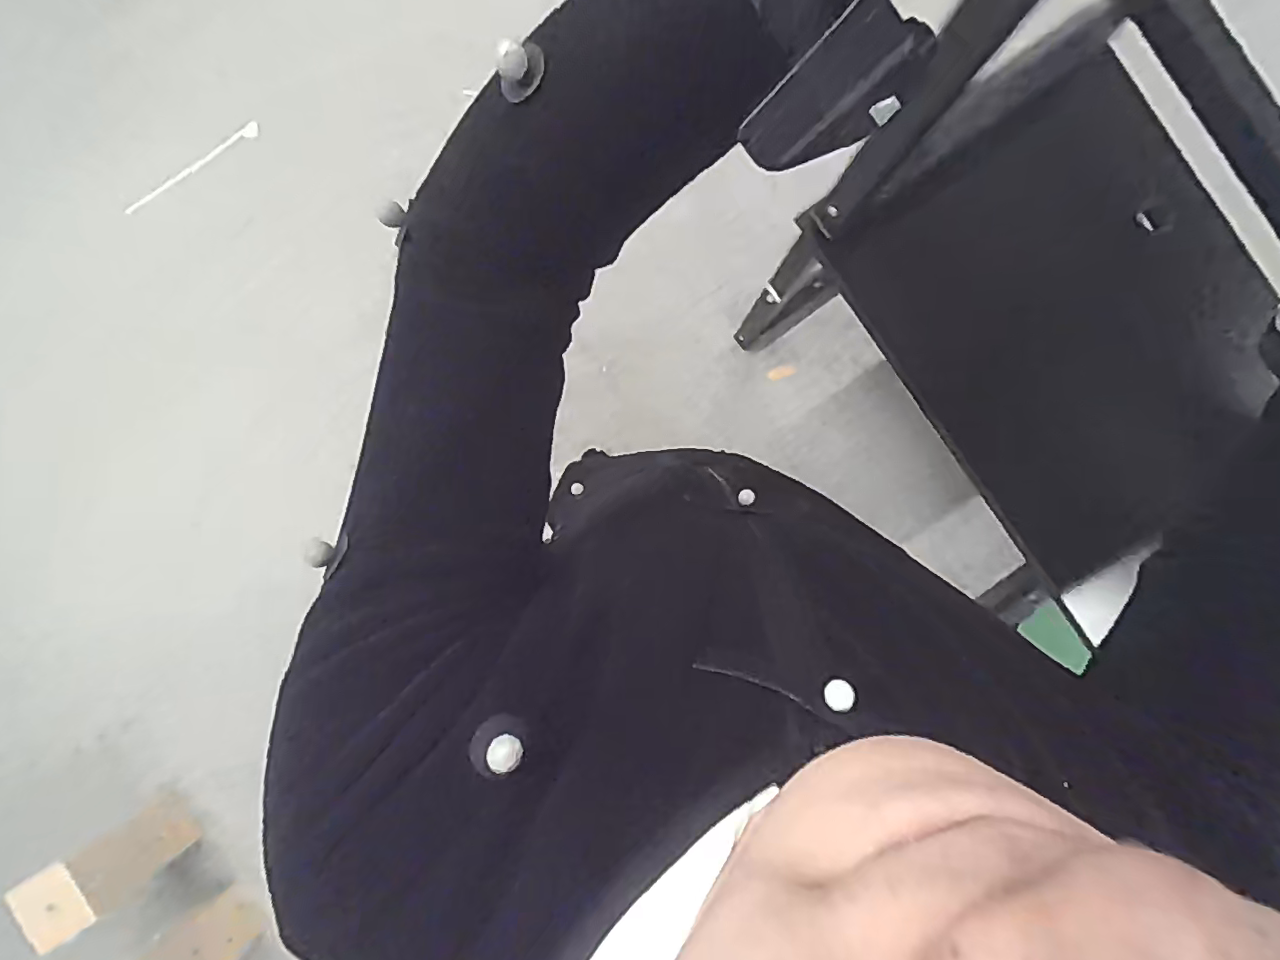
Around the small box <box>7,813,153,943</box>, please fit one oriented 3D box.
[{"bbox_3d":[-1.427,1.014,1.392,0.168,0.176,0.179,-30,90,0],"label":"small box"}]

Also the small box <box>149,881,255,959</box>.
[{"bbox_3d":[-1.261,1.315,1.557,0.179,0.176,0.168,-29,90,1],"label":"small box"}]
